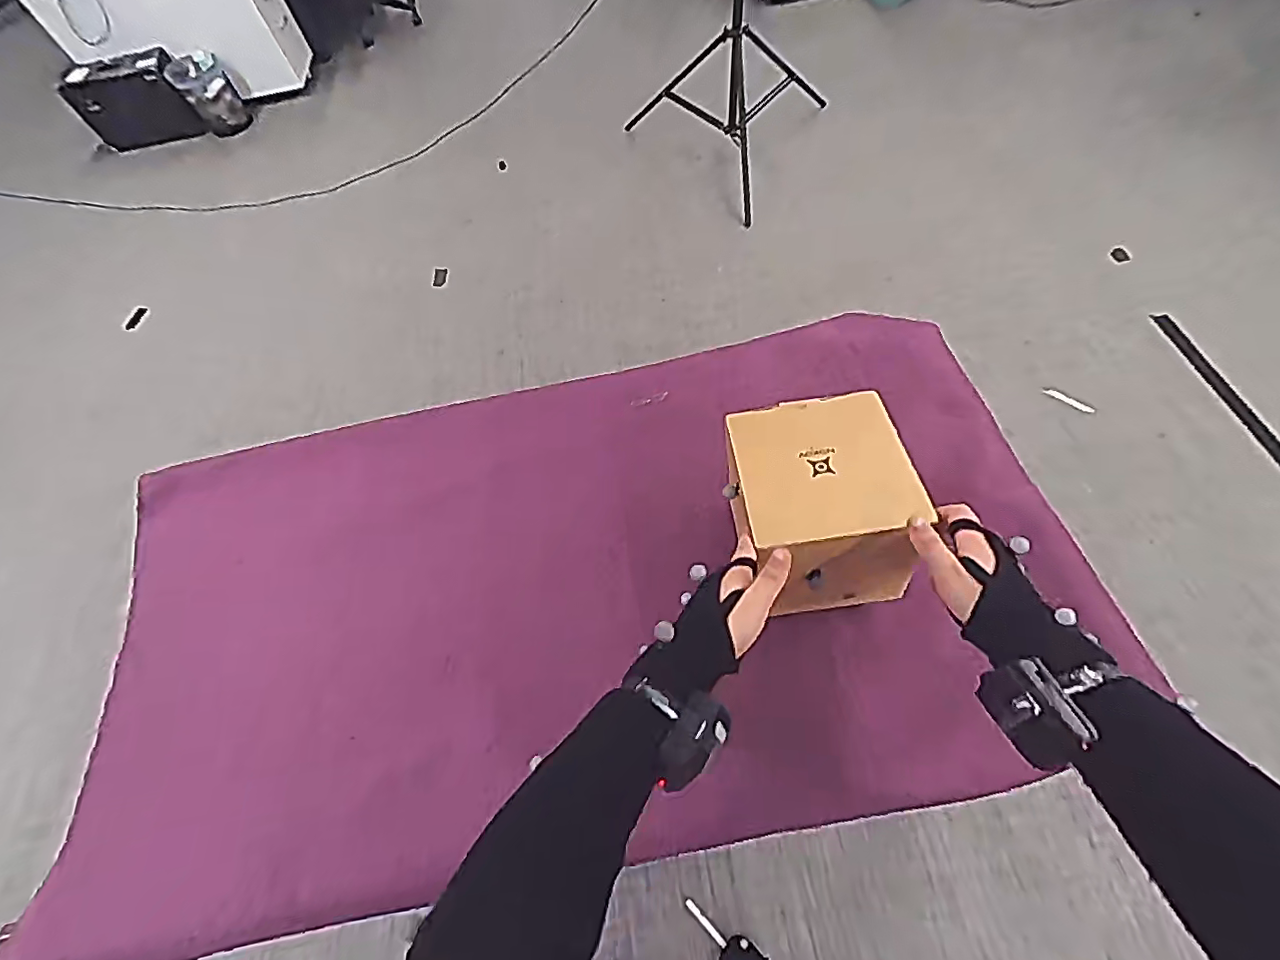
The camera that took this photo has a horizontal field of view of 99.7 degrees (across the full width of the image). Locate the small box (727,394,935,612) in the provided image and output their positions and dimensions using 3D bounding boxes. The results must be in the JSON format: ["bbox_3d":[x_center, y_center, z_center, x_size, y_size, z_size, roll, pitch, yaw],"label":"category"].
[{"bbox_3d":[0.195,0.035,0.602,0.168,0.176,0.179,-9,52,6],"label":"small box"}]

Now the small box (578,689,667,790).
[{"bbox_3d":[-0.036,0.578,1.200,0.168,0.176,0.179,-10,60,1],"label":"small box"}]
